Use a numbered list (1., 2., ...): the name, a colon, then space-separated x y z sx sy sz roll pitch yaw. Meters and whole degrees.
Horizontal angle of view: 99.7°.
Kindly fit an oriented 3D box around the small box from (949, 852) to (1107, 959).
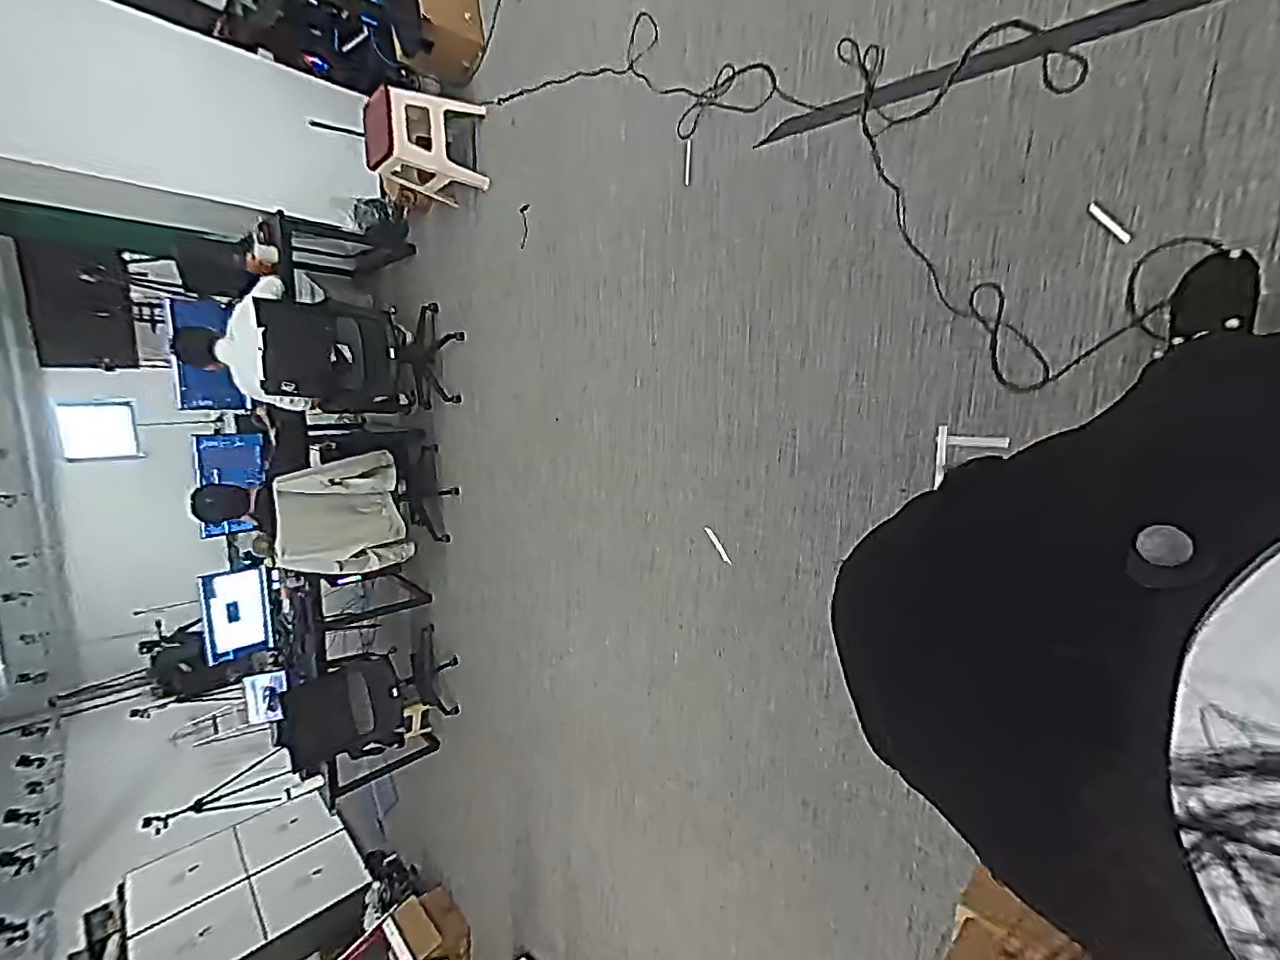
1. small box: 0.609 0.751 0.855 0.168 0.176 0.179 14 105 46

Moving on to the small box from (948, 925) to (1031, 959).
1. small box: 0.500 0.780 0.734 0.168 0.176 0.179 11 103 46
